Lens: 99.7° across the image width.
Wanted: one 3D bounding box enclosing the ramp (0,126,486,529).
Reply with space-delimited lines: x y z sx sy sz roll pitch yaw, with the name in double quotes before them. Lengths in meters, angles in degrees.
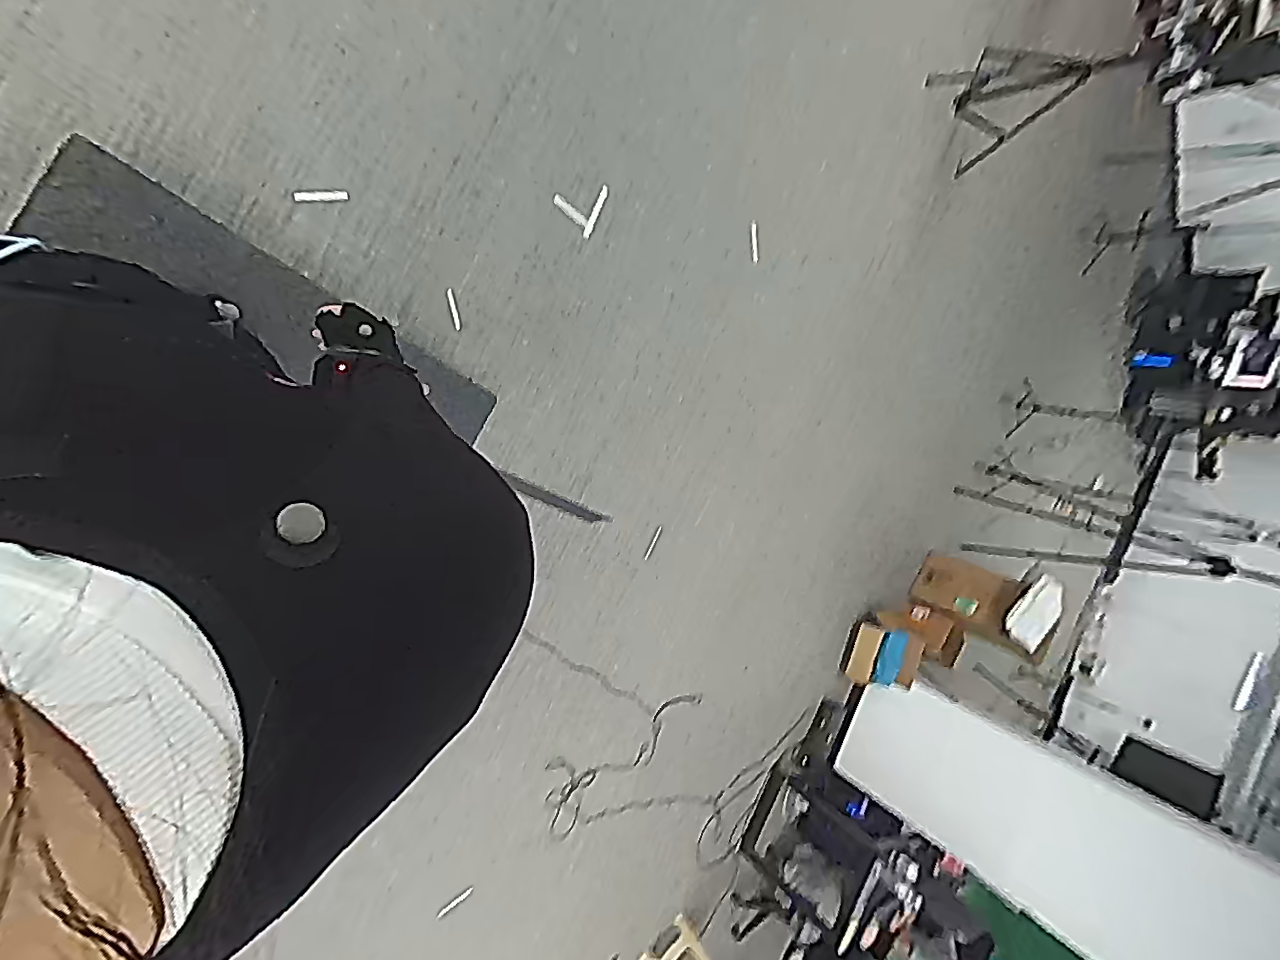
"ramp" -0.838 -0.226 1.282 0.991 0.206 0.509 29 84 -43
